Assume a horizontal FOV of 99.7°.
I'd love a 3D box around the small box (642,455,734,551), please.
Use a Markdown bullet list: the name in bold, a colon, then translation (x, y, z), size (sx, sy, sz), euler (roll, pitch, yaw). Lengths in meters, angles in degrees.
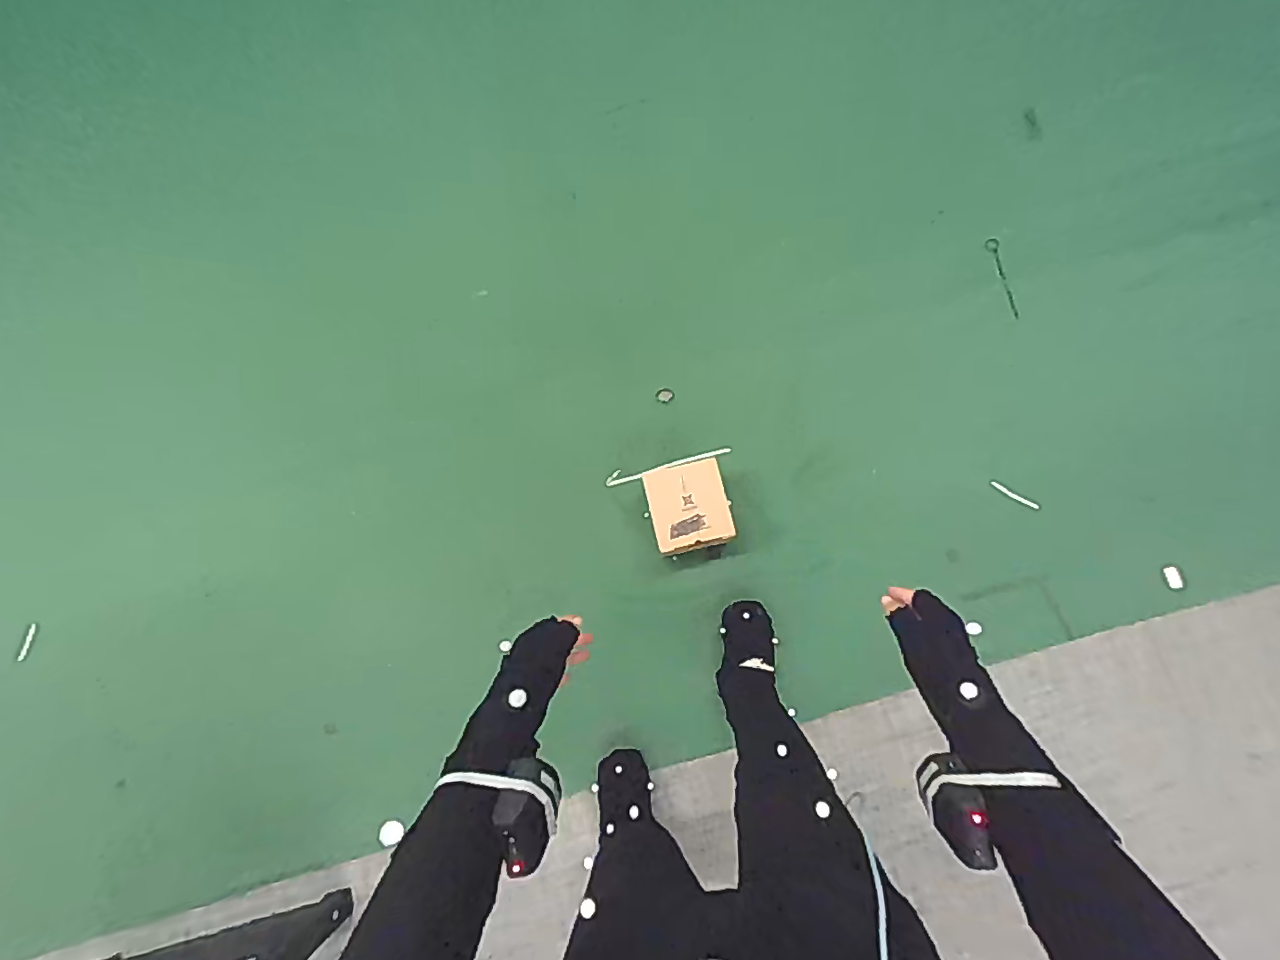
- **small box**: translation (0.107, 0.061, 1.227), size (0.168, 0.176, 0.179), euler (-14, 78, 0)
